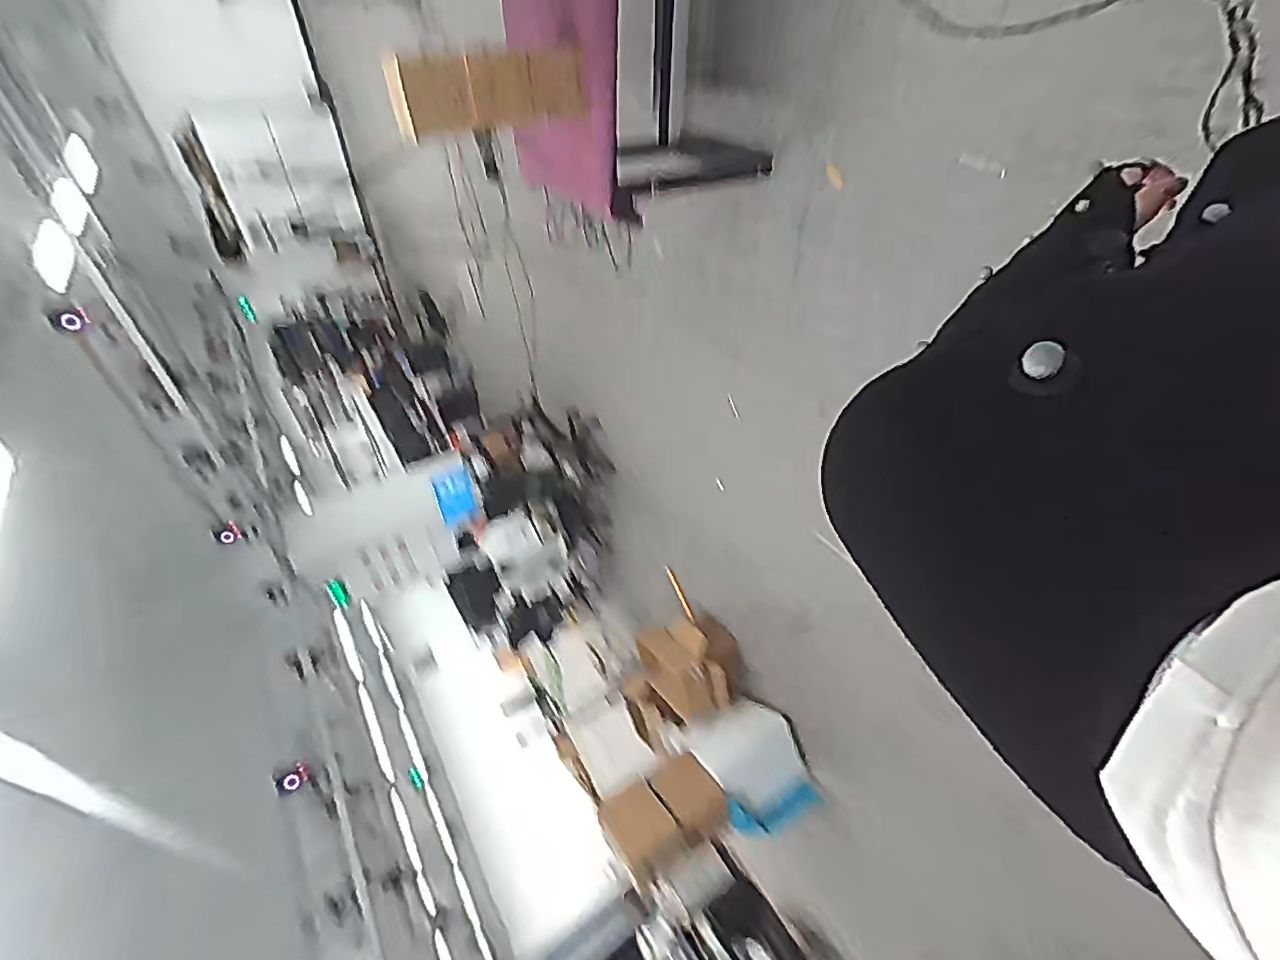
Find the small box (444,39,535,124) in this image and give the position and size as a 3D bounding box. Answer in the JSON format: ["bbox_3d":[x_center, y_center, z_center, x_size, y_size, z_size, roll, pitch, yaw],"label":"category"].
[{"bbox_3d":[-0.403,-1.078,1.461,0.168,0.176,0.179,42,146,43],"label":"small box"}]

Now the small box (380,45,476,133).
[{"bbox_3d":[-0.548,-1.020,1.409,0.168,0.176,0.179,44,147,42],"label":"small box"}]
